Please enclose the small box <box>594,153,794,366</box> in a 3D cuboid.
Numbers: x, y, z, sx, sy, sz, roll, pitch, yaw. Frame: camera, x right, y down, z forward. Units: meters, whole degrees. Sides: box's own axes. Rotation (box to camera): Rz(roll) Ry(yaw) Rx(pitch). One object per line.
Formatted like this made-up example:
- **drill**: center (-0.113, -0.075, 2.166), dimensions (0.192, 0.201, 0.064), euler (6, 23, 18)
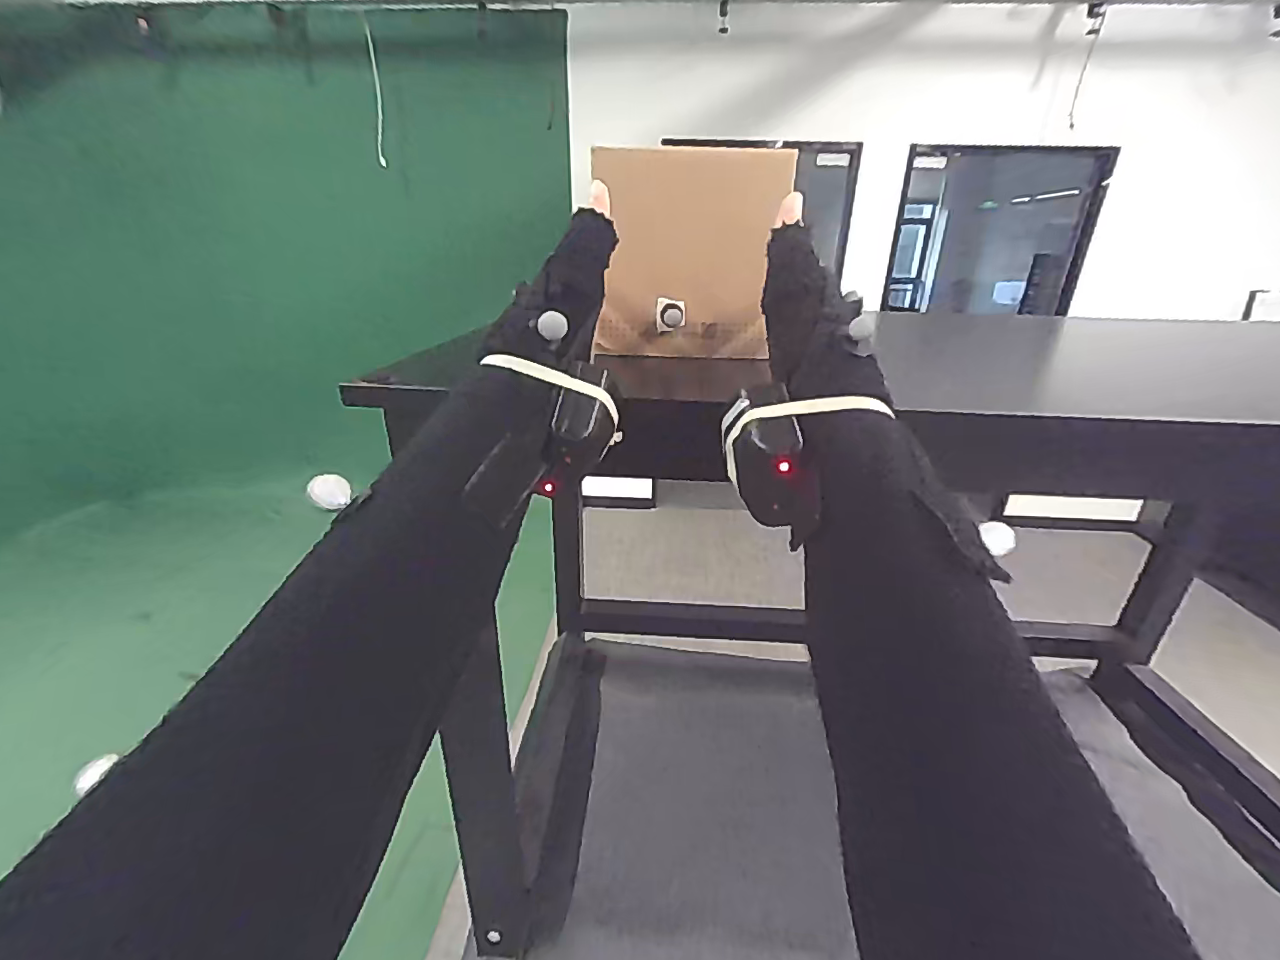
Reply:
- **small box**: center (0.043, -0.218, 0.545), dimensions (0.168, 0.176, 0.179), euler (1, 25, 0)
